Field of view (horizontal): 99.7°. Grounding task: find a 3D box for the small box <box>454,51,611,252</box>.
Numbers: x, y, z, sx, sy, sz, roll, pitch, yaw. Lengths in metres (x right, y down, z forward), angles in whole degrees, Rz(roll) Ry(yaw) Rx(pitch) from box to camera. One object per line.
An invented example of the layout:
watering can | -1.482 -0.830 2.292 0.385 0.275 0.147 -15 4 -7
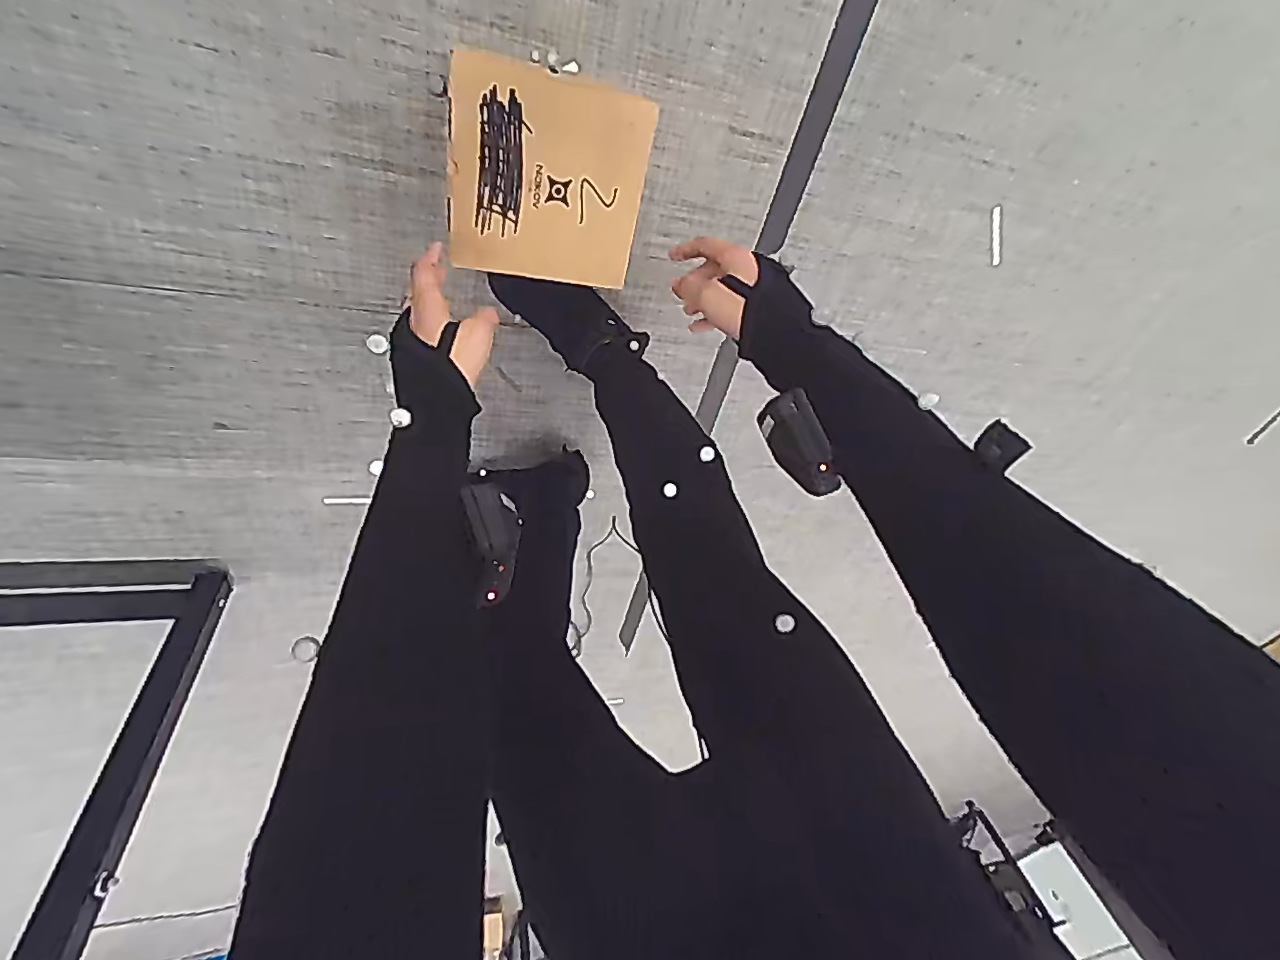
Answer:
small box | -0.143 -0.408 0.673 0.168 0.176 0.179 0 130 -17
